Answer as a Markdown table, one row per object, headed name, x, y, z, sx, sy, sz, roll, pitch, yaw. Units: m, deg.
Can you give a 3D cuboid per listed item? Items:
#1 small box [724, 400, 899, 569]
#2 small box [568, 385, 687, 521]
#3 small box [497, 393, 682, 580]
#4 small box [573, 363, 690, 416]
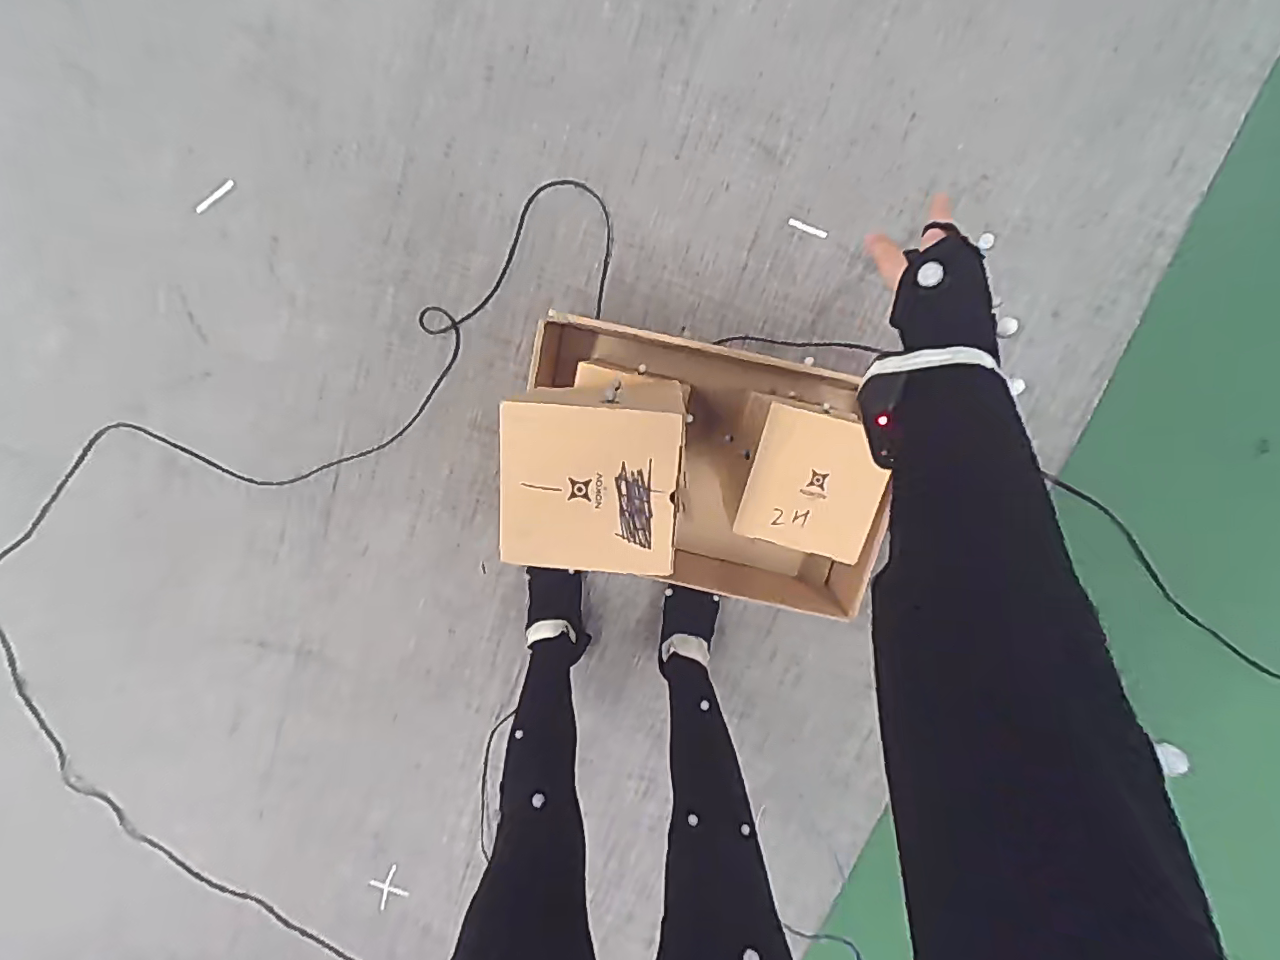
| name | x | y | z | sx | sy | sz | roll | pitch | yaw |
| --- | --- | --- | --- | --- | --- | --- | --- | --- | --- |
| small box | 0.220 | -0.006 | 0.748 | 0.168 | 0.176 | 0.179 | 16 | 104 | 1 |
| small box | -0.028 | -0.043 | 0.761 | 0.179 | 0.176 | 0.168 | -3 | 104 | 4 |
| small box | -0.049 | -0.004 | 0.602 | 0.179 | 0.176 | 0.168 | 5 | 104 | 2 |
| small box | -0.023 | -0.098 | 0.915 | 0.179 | 0.176 | 0.168 | 13 | 104 | -1 |
